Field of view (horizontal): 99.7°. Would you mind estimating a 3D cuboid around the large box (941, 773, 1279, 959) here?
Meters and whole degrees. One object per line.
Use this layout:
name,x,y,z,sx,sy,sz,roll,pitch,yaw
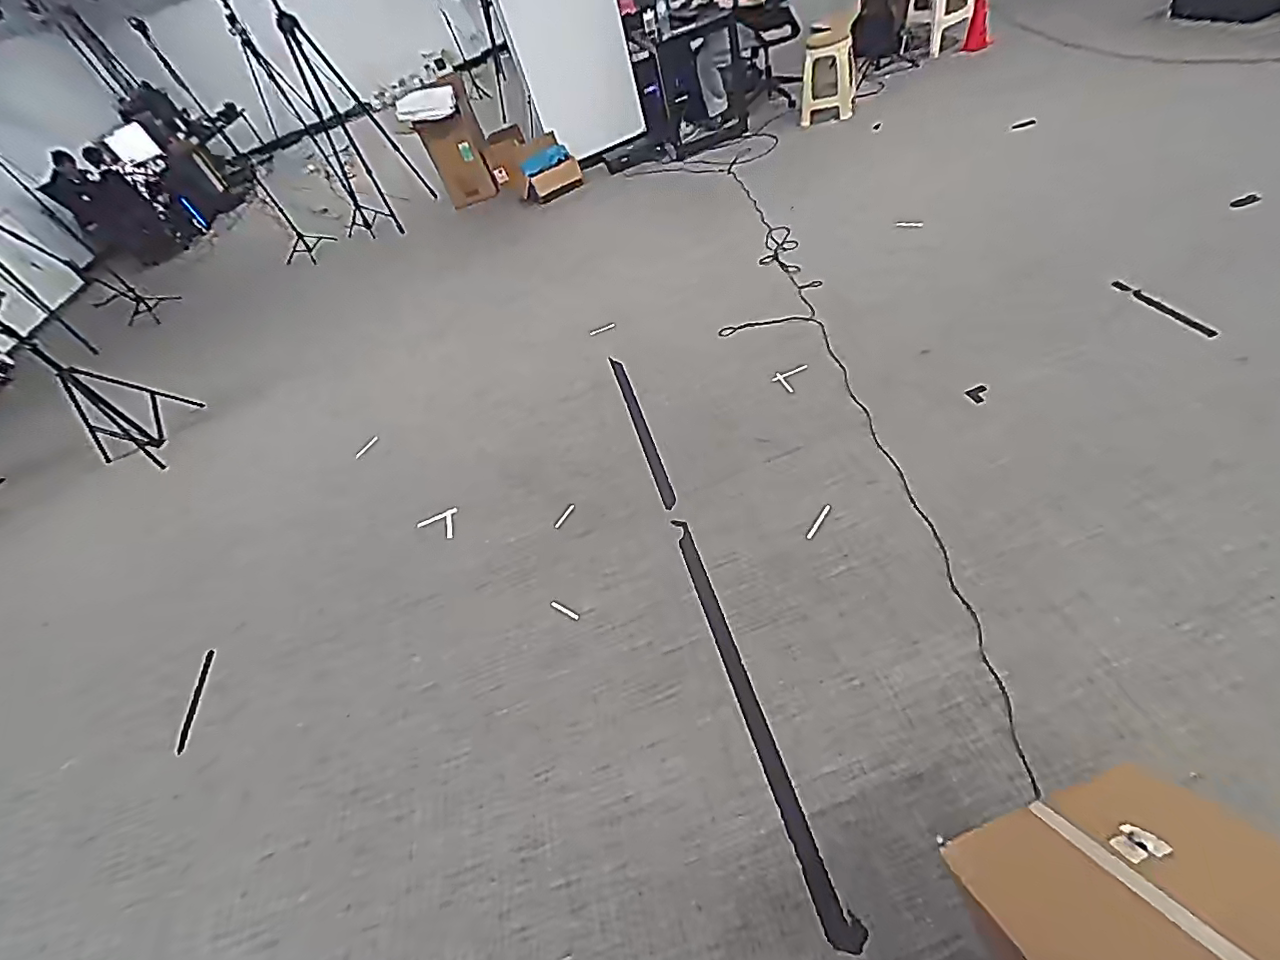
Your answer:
large box,0.641,0.615,0.592,0.320,0.408,0.320,-24,84,-1
